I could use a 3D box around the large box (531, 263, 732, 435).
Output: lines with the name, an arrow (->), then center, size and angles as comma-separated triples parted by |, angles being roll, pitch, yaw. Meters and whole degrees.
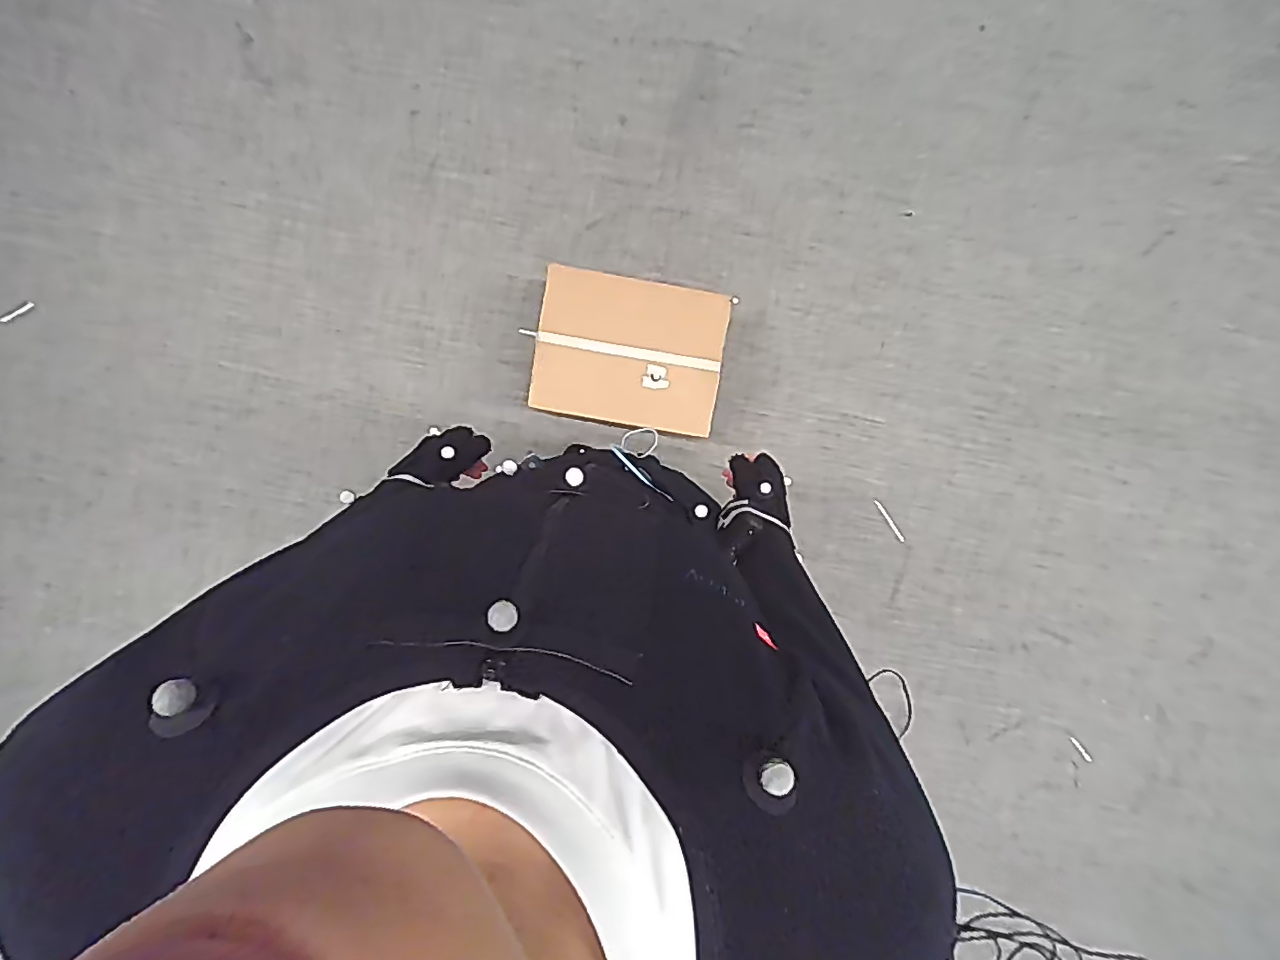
large box -> -0.025, -0.294, 1.317 | 0.408, 0.320, 0.320 | 10, 94, -2
